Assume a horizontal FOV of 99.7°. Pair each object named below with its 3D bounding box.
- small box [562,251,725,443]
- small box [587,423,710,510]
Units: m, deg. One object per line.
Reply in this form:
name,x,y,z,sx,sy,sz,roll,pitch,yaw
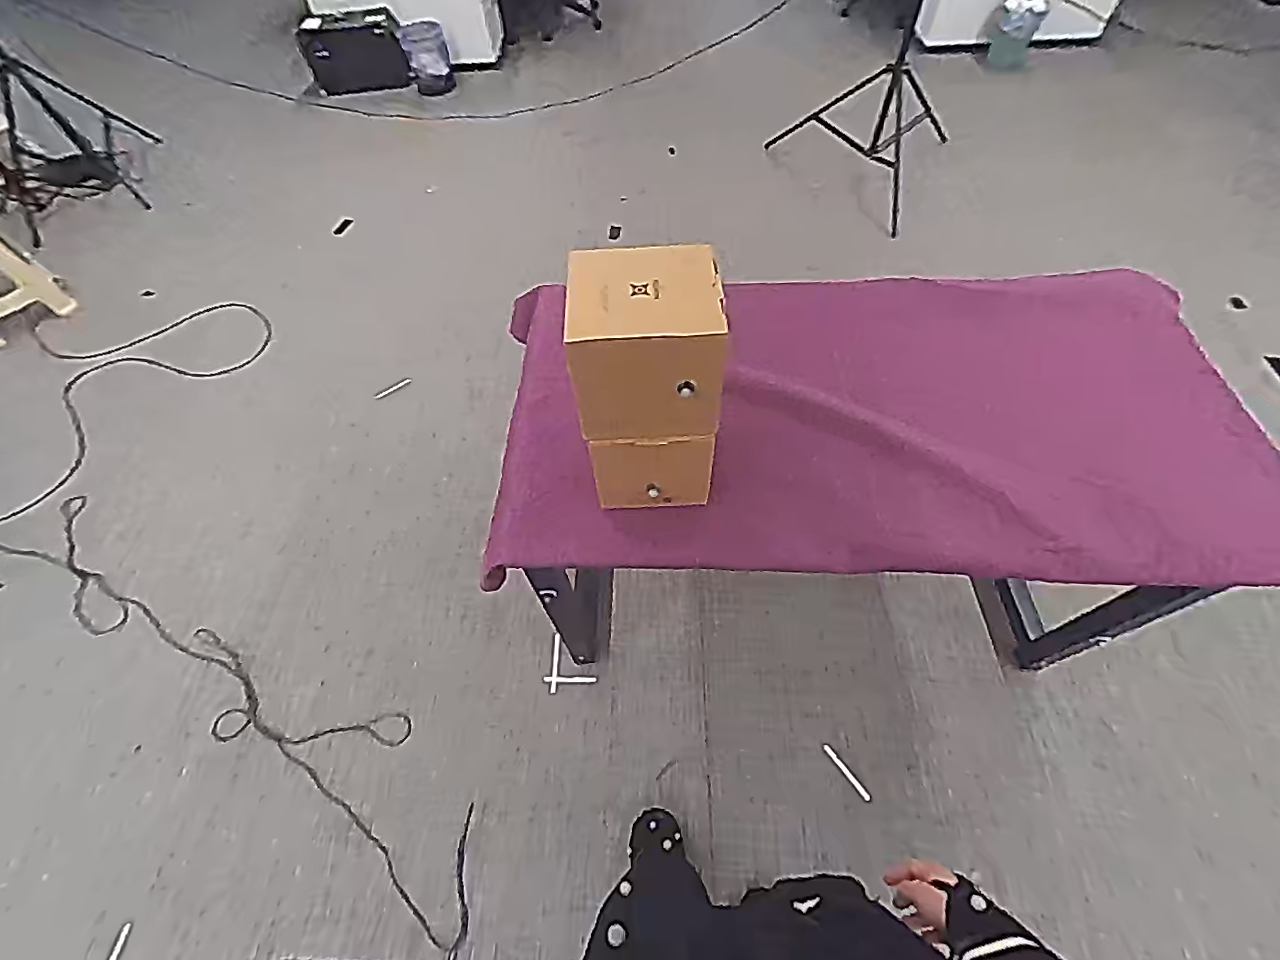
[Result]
small box,0.004,-0.162,0.683,0.179,0.176,0.168,-4,55,1
small box,0.012,-0.072,0.817,0.168,0.176,0.179,-2,57,2
